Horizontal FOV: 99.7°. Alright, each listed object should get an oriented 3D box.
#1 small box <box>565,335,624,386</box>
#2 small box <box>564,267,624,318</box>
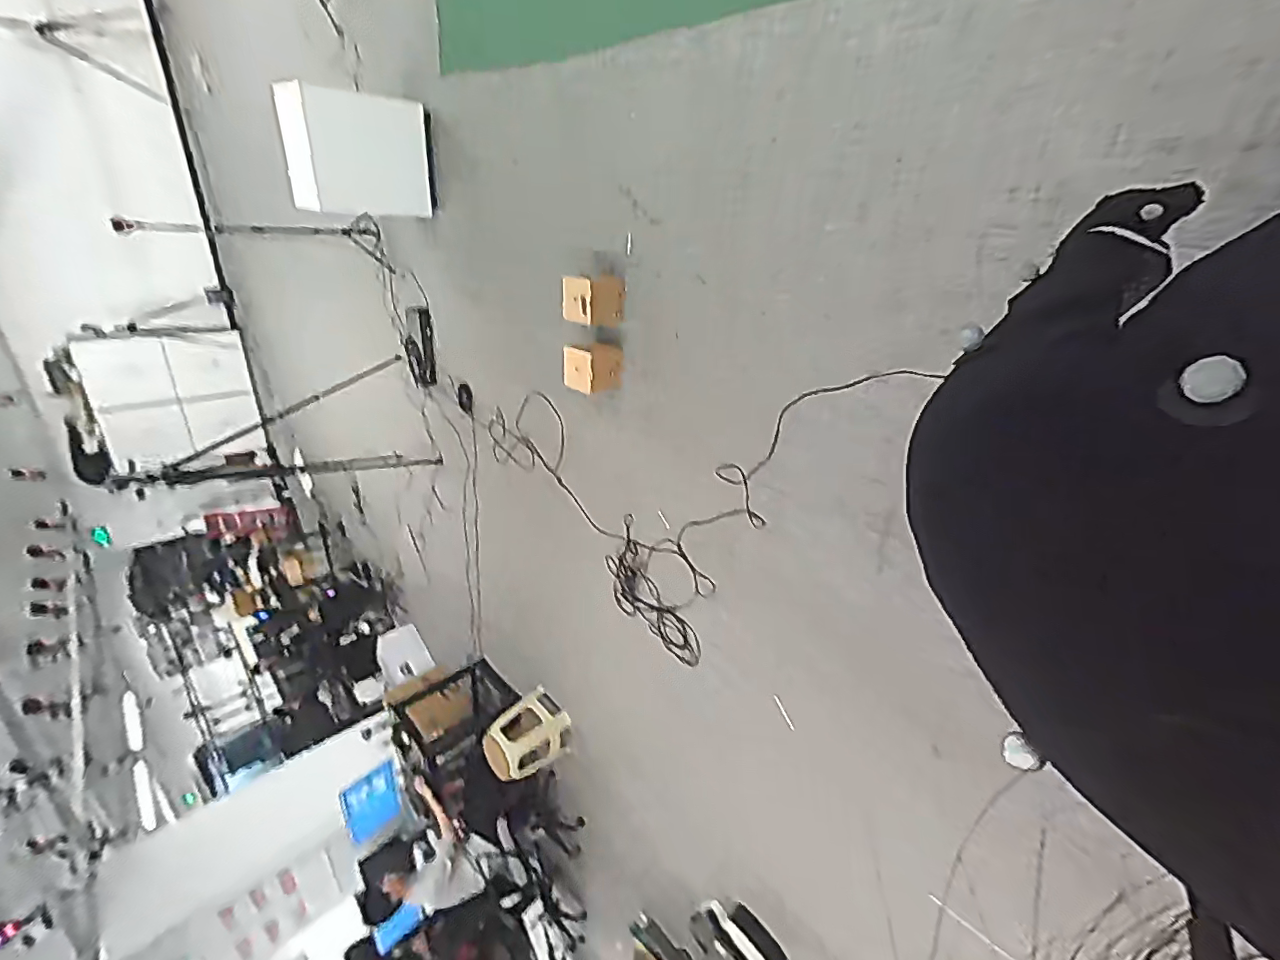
[{"bbox_3d":[-0.190,-0.498,2.226,0.179,0.176,0.168,27,124,39],"label":"small box"},{"bbox_3d":[-0.178,-0.738,2.113,0.179,0.176,0.168,27,124,40],"label":"small box"}]
